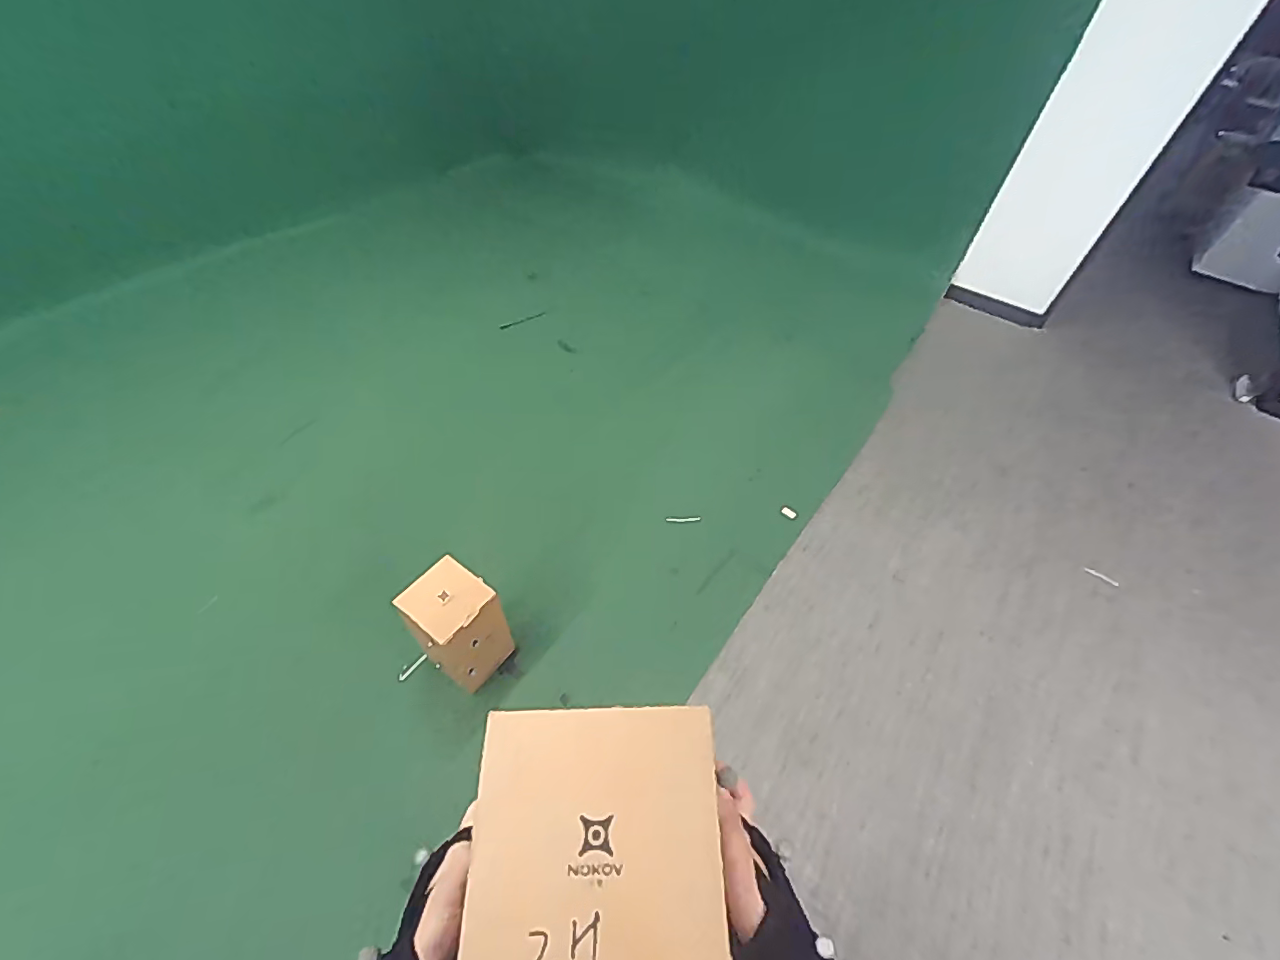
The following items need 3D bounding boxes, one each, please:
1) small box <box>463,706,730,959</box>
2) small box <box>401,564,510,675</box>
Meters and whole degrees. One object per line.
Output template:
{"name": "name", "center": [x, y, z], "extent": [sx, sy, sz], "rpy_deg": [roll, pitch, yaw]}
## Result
{"name": "small box", "center": [-0.020, 0.287, 0.424], "extent": [0.168, 0.176, 0.179], "rpy_deg": [-3, 58, 5]}
{"name": "small box", "center": [-0.445, 0.346, 1.326], "extent": [0.179, 0.176, 0.168], "rpy_deg": [30, 54, 21]}
